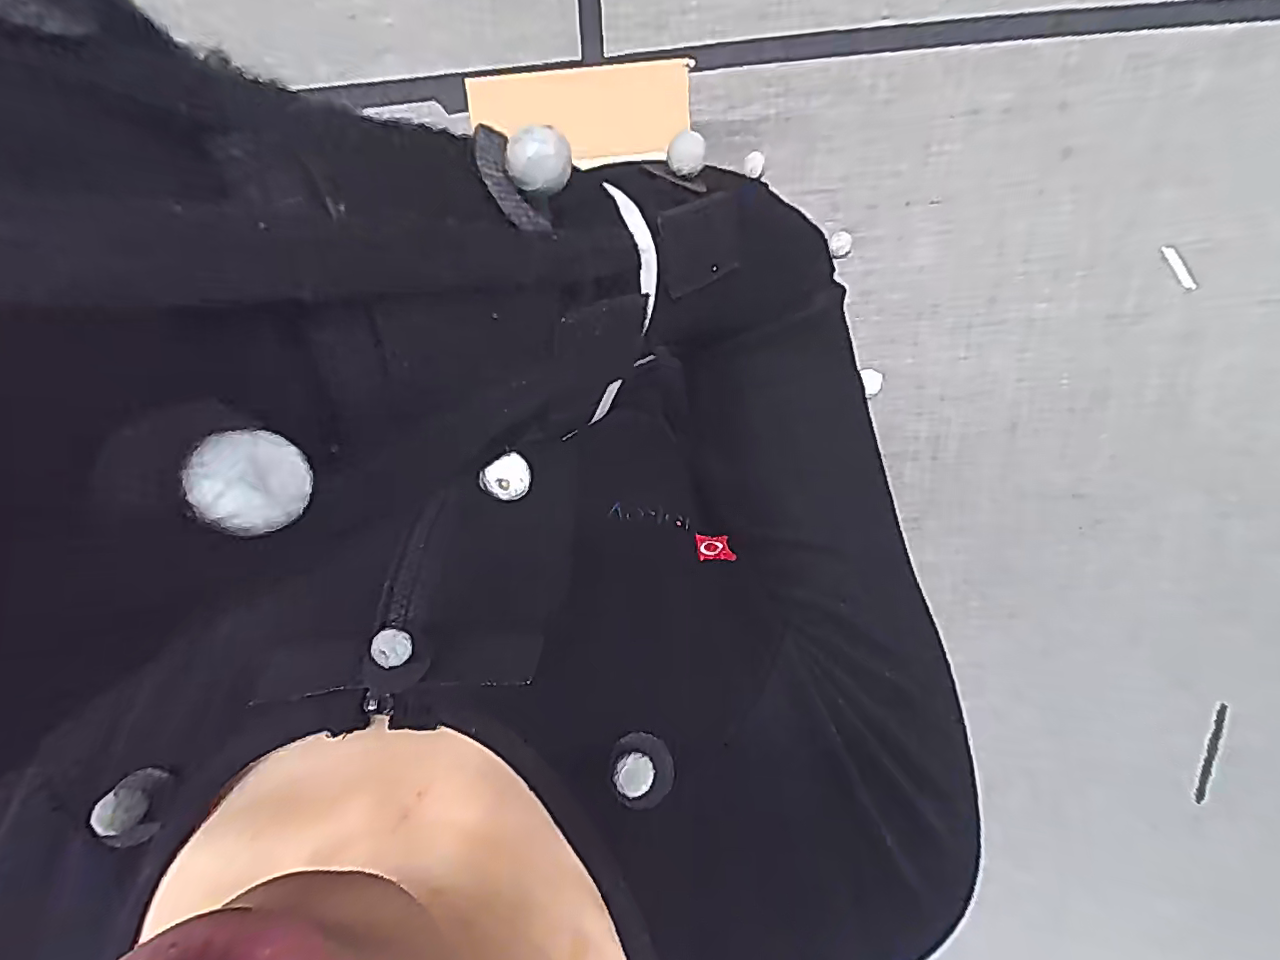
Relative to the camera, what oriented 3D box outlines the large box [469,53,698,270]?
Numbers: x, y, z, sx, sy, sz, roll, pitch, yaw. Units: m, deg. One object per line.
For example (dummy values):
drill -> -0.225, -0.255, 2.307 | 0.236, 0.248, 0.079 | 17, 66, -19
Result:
large box -> -0.101, -0.640, 1.150 | 0.408, 0.320, 0.320 | -4, 108, 1
